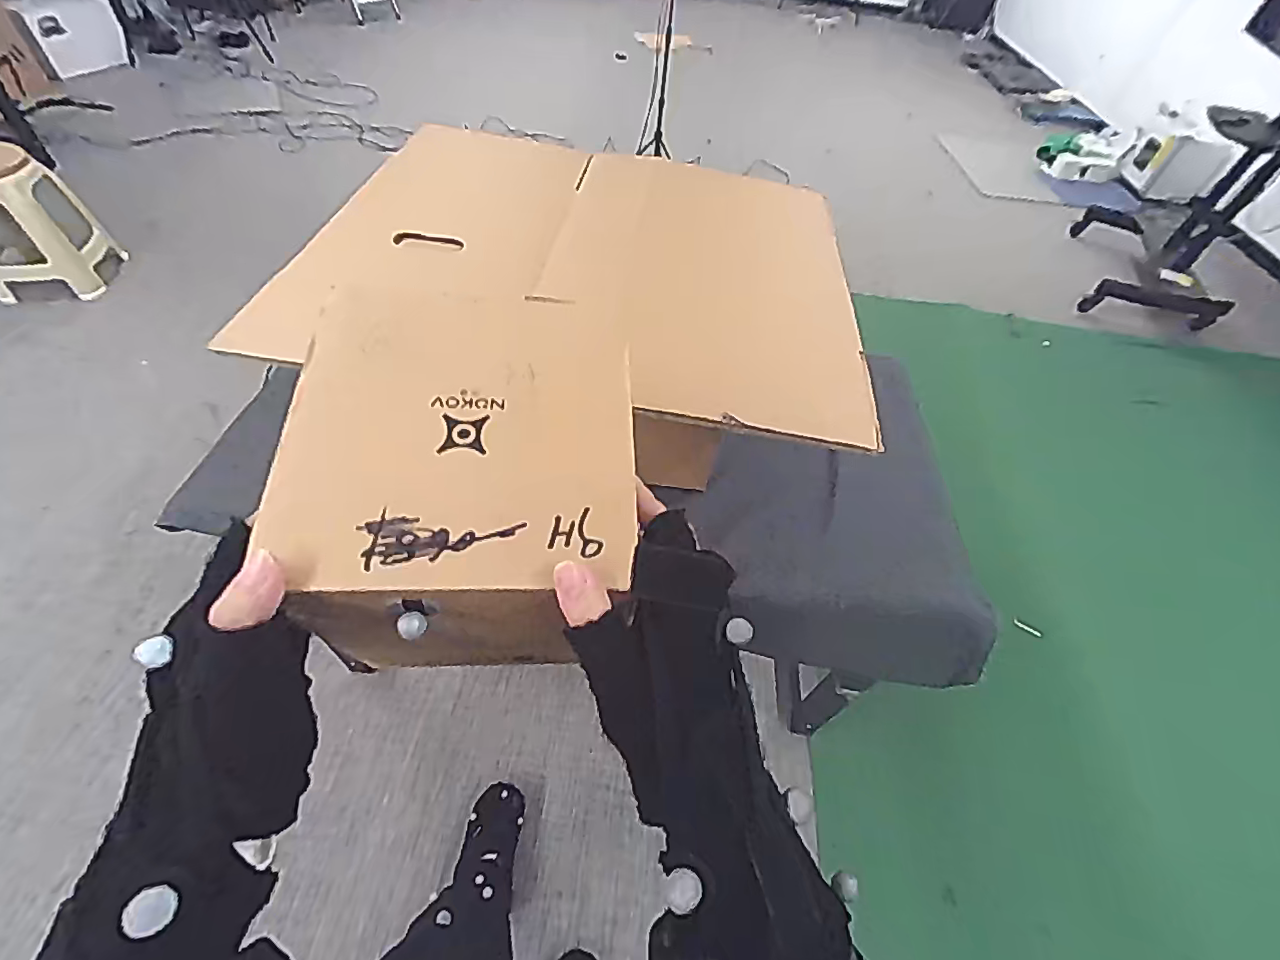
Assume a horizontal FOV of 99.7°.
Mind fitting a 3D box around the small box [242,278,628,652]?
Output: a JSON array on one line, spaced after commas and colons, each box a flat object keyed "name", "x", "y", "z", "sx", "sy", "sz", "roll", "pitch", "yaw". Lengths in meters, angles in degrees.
[{"name": "small box", "x": -0.098, "y": 0.001, "z": 0.343, "sx": 0.168, "sy": 0.176, "sz": 0.179, "roll": 0, "pitch": 61, "yaw": -6}]
